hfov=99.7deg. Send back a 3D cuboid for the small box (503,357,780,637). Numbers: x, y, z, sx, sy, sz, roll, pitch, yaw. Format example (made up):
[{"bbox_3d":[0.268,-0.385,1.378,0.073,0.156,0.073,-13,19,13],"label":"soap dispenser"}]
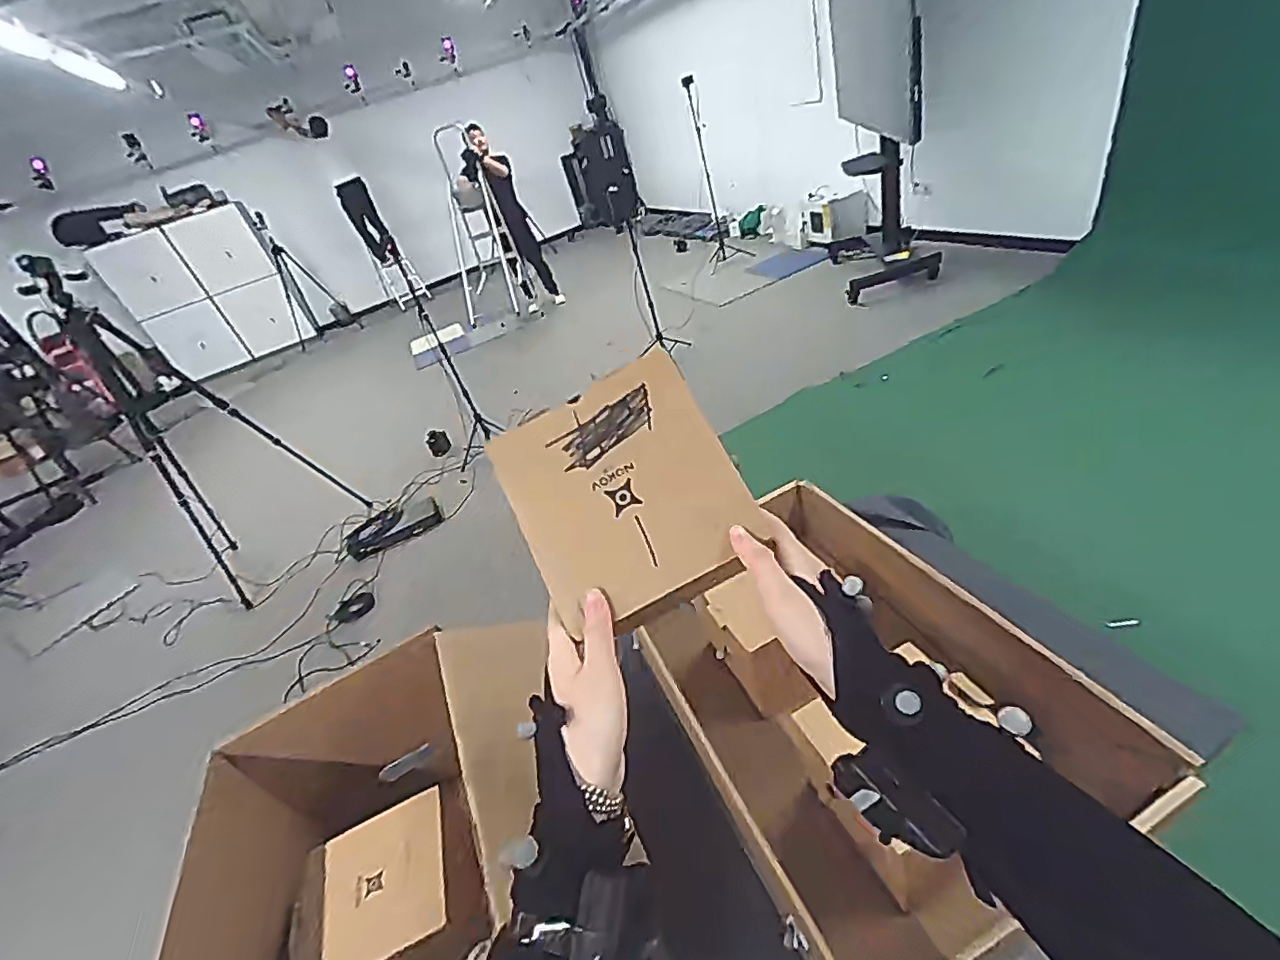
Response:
[{"bbox_3d":[0.006,0.028,0.493,0.168,0.176,0.179,-28,73,2],"label":"small box"}]

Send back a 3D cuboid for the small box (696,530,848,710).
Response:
[{"bbox_3d":[0.200,0.215,0.831,0.179,0.176,0.168,-26,37,-10],"label":"small box"}]
